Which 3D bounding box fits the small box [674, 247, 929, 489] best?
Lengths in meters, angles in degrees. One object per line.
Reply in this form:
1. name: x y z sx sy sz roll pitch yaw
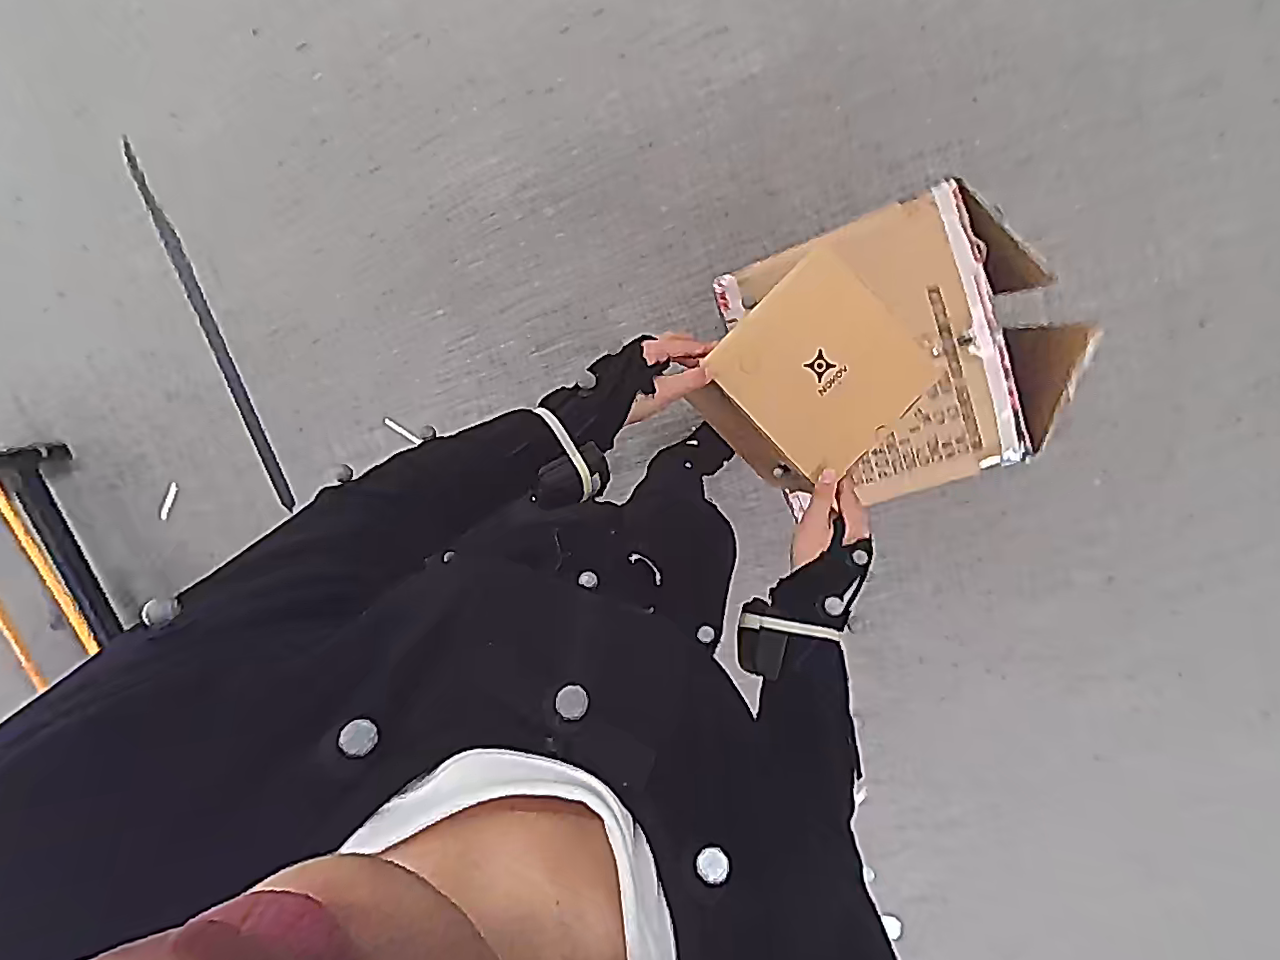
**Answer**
1. small box: 0.157 -0.107 0.592 0.179 0.176 0.168 44 89 -5
